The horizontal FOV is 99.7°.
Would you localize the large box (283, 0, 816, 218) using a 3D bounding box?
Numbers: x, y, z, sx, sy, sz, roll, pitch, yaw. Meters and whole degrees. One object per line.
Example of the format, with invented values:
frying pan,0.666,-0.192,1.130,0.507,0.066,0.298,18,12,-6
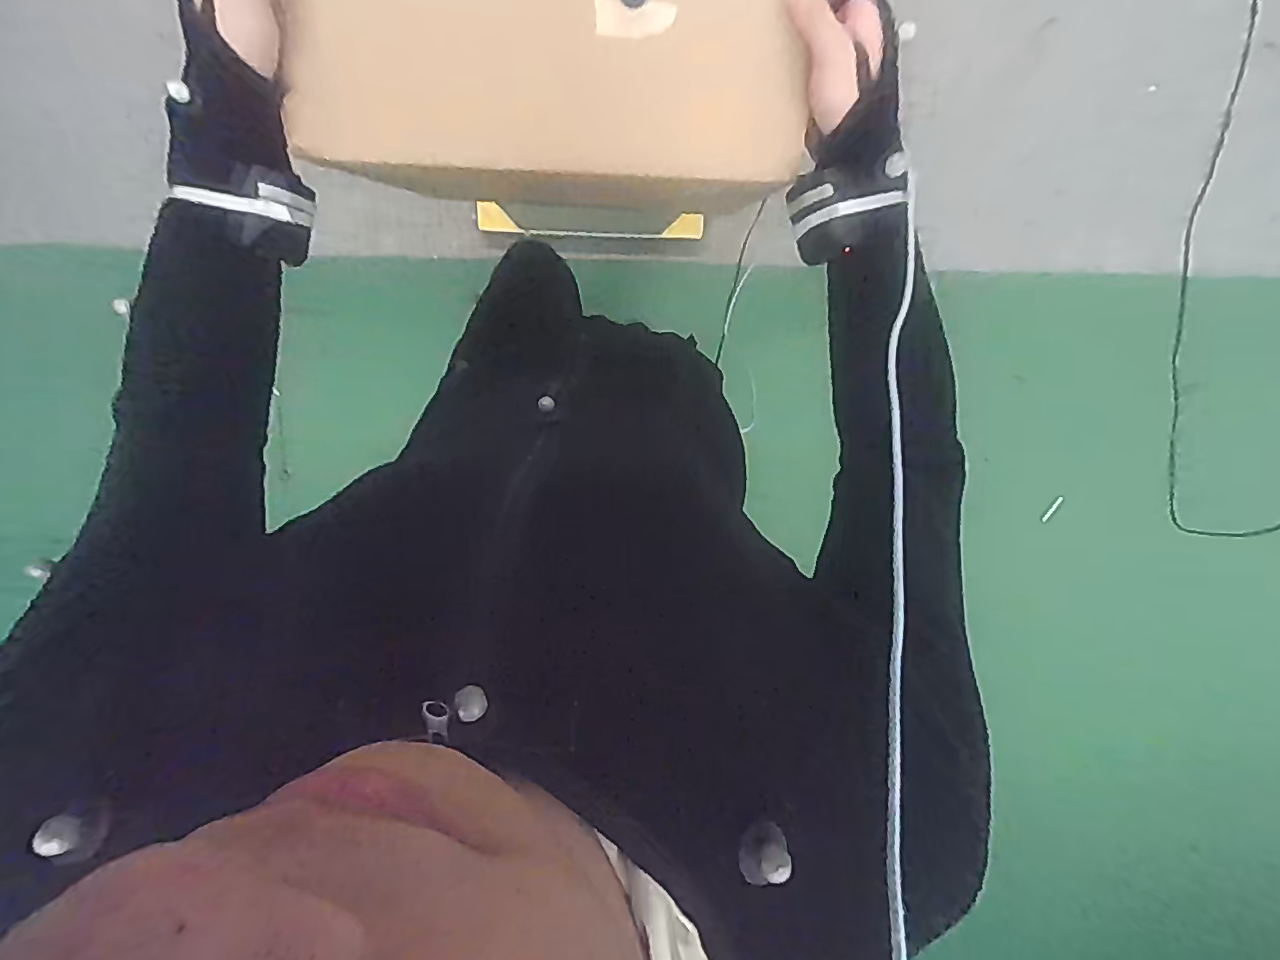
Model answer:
large box,-0.068,-0.444,0.529,0.408,0.320,0.320,2,112,-2
